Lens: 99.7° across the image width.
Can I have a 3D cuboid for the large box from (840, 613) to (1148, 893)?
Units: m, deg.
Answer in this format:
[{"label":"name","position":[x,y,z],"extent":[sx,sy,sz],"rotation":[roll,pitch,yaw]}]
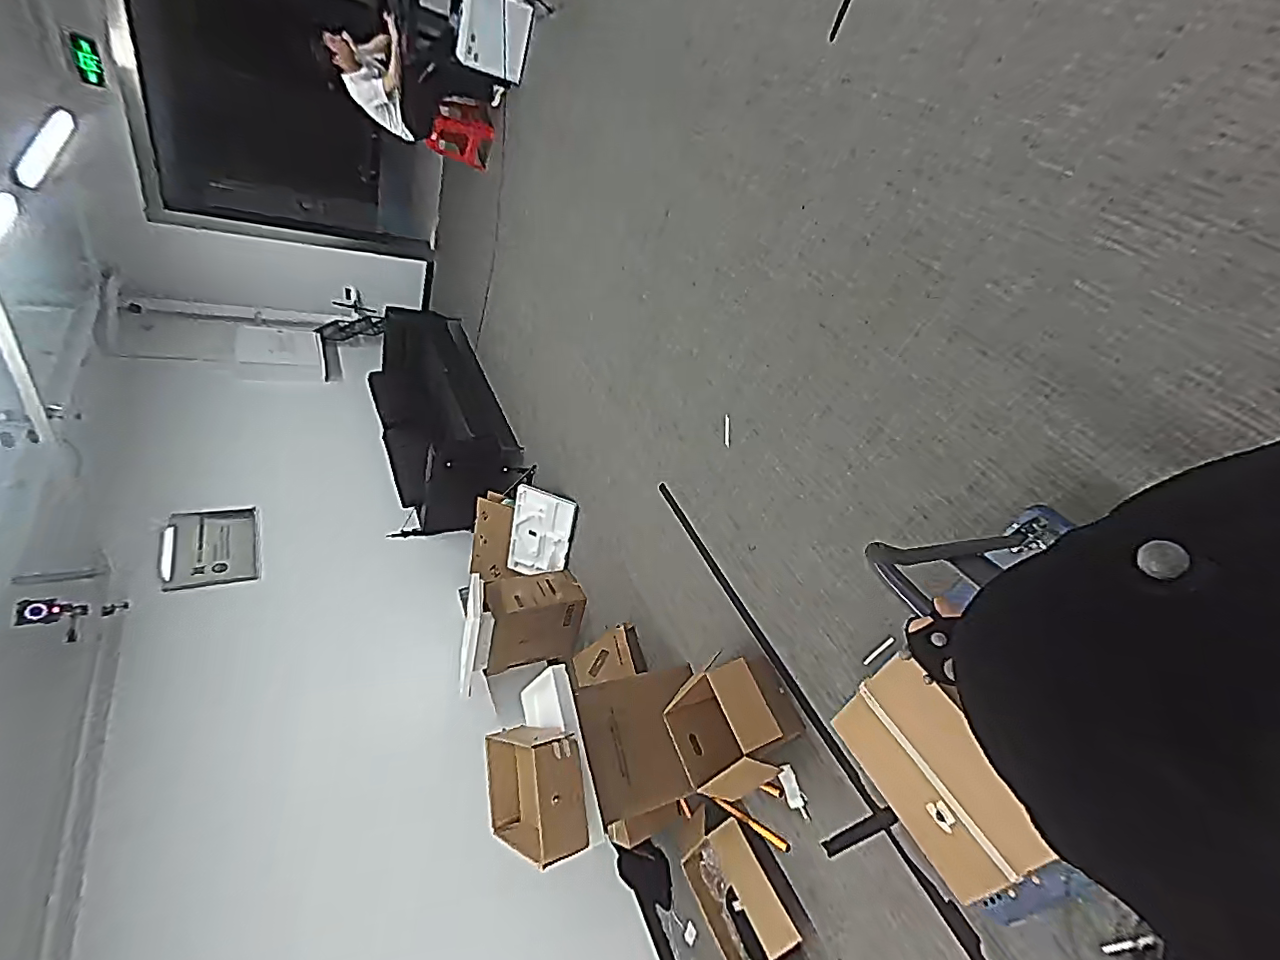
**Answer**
[{"label":"large box","position":[0.742,0.563,1.183],"extent":[0.408,0.320,0.320],"rotation":[54,136,39]}]
